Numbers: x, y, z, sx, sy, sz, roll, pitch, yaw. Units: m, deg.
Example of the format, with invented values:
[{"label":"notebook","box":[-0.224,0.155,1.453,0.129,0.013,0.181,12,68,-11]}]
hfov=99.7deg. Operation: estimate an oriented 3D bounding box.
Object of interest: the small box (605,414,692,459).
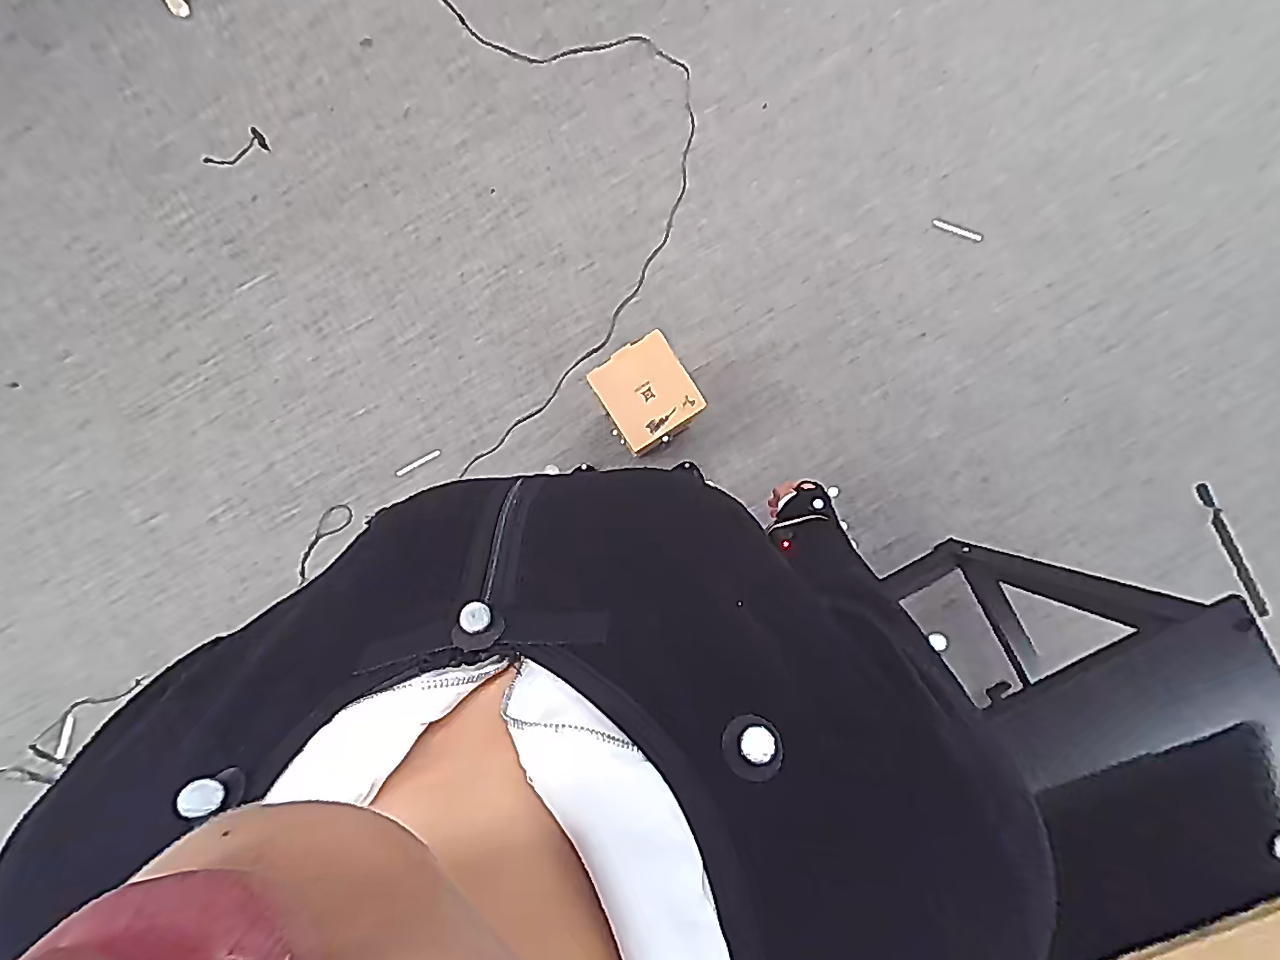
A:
[{"label":"small box","box":[0.015,-0.168,1.415,0.179,0.176,0.168,-32,90,3]}]

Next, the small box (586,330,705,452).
[{"label":"small box","box":[0.010,-0.167,1.089,0.168,0.176,0.179,-33,90,2]}]
